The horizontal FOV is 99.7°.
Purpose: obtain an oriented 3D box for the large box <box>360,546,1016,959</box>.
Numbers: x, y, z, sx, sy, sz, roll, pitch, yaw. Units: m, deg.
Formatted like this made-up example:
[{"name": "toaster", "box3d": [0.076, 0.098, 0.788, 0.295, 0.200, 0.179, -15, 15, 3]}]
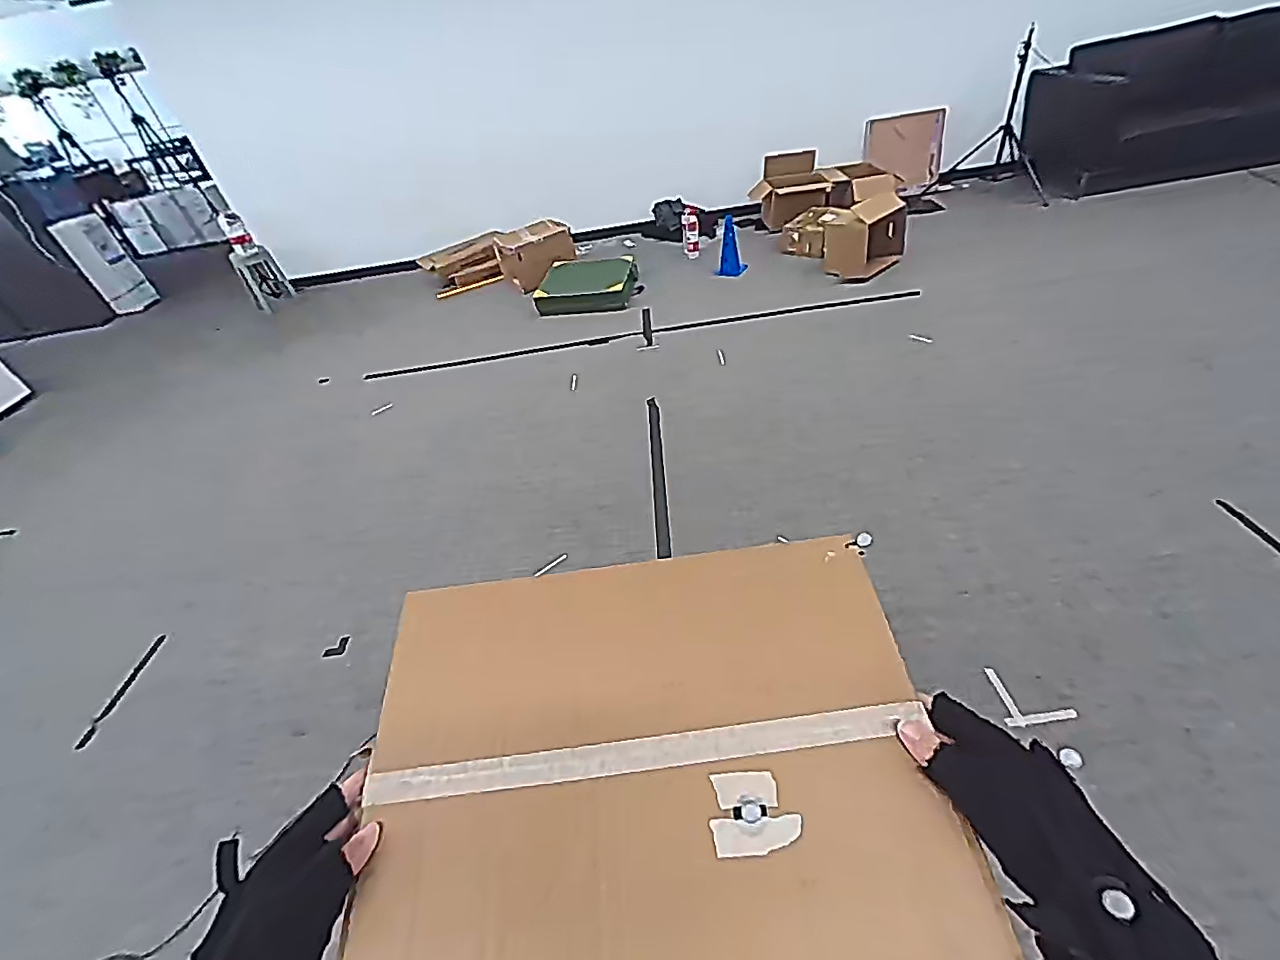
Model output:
[{"name": "large box", "box3d": [0.020, 0.299, 0.515, 0.408, 0.320, 0.320, -8, 52, 0]}]
